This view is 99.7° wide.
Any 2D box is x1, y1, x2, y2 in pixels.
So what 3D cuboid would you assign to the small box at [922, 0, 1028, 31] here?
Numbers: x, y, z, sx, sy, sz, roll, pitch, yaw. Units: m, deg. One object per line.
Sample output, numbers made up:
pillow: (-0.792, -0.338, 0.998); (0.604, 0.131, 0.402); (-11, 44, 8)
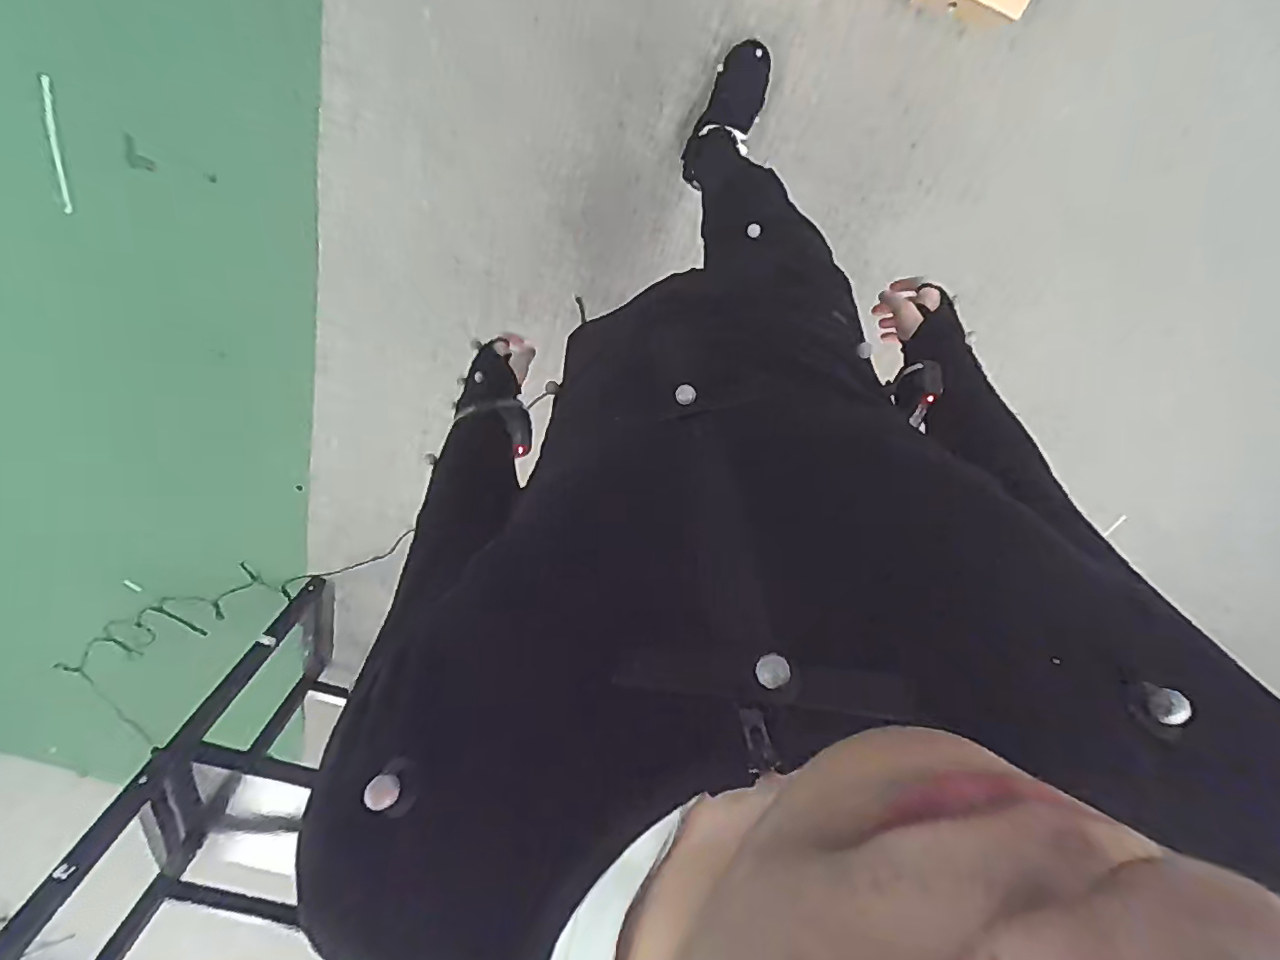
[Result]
small box: (0.655, -0.983, 1.009); (0.168, 0.176, 0.179); (19, 120, -6)
